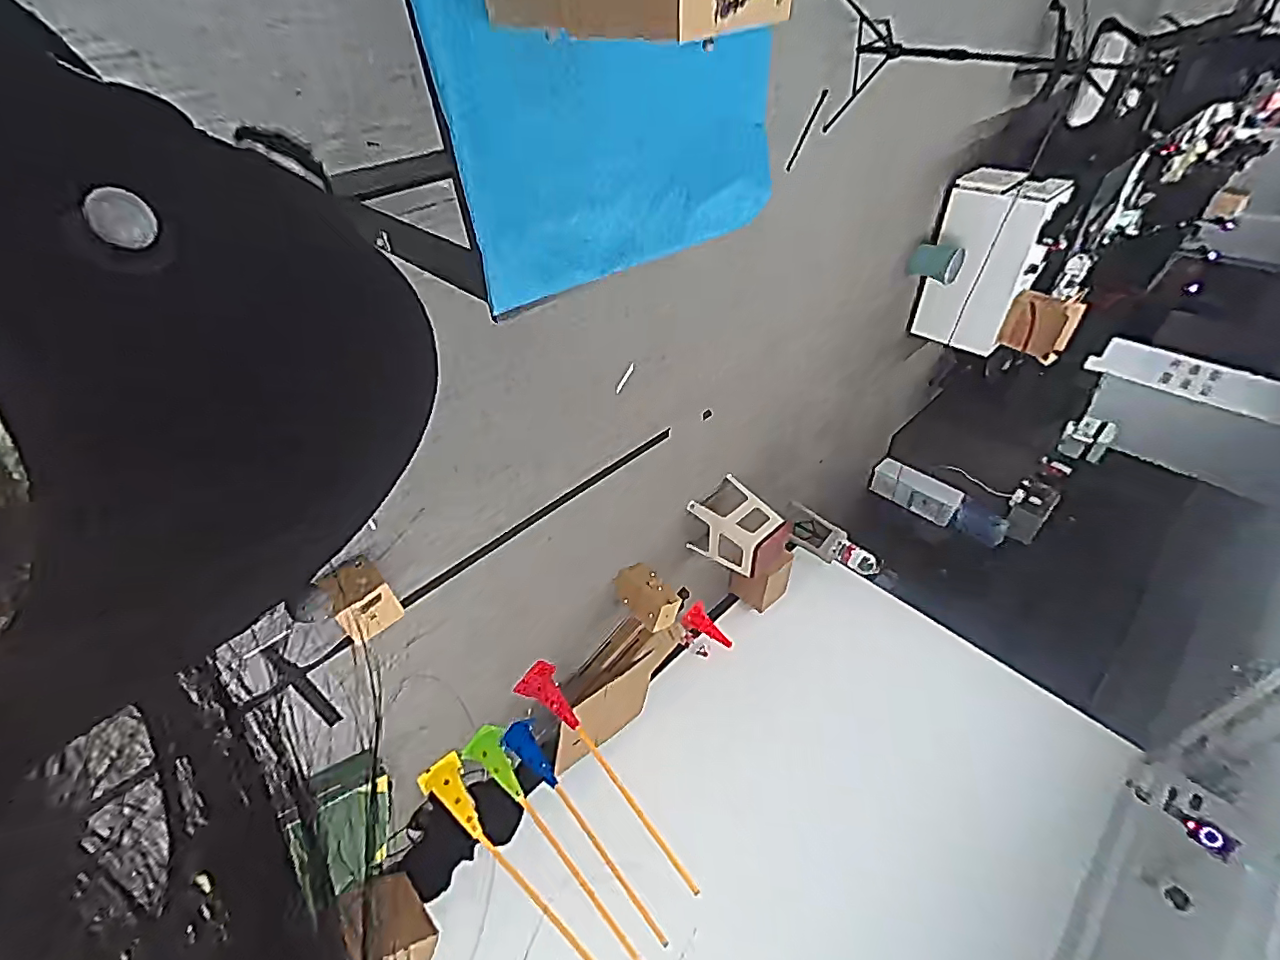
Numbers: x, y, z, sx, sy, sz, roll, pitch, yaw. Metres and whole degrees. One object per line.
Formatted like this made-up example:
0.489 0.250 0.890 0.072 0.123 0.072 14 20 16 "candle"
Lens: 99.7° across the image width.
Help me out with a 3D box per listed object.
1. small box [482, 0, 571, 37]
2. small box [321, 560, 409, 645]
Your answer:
-0.077 -0.605 0.591 0.168 0.176 0.179 -34 140 -28 "small box"
-0.877 0.381 1.719 0.168 0.176 0.179 -35 141 -27 "small box"
